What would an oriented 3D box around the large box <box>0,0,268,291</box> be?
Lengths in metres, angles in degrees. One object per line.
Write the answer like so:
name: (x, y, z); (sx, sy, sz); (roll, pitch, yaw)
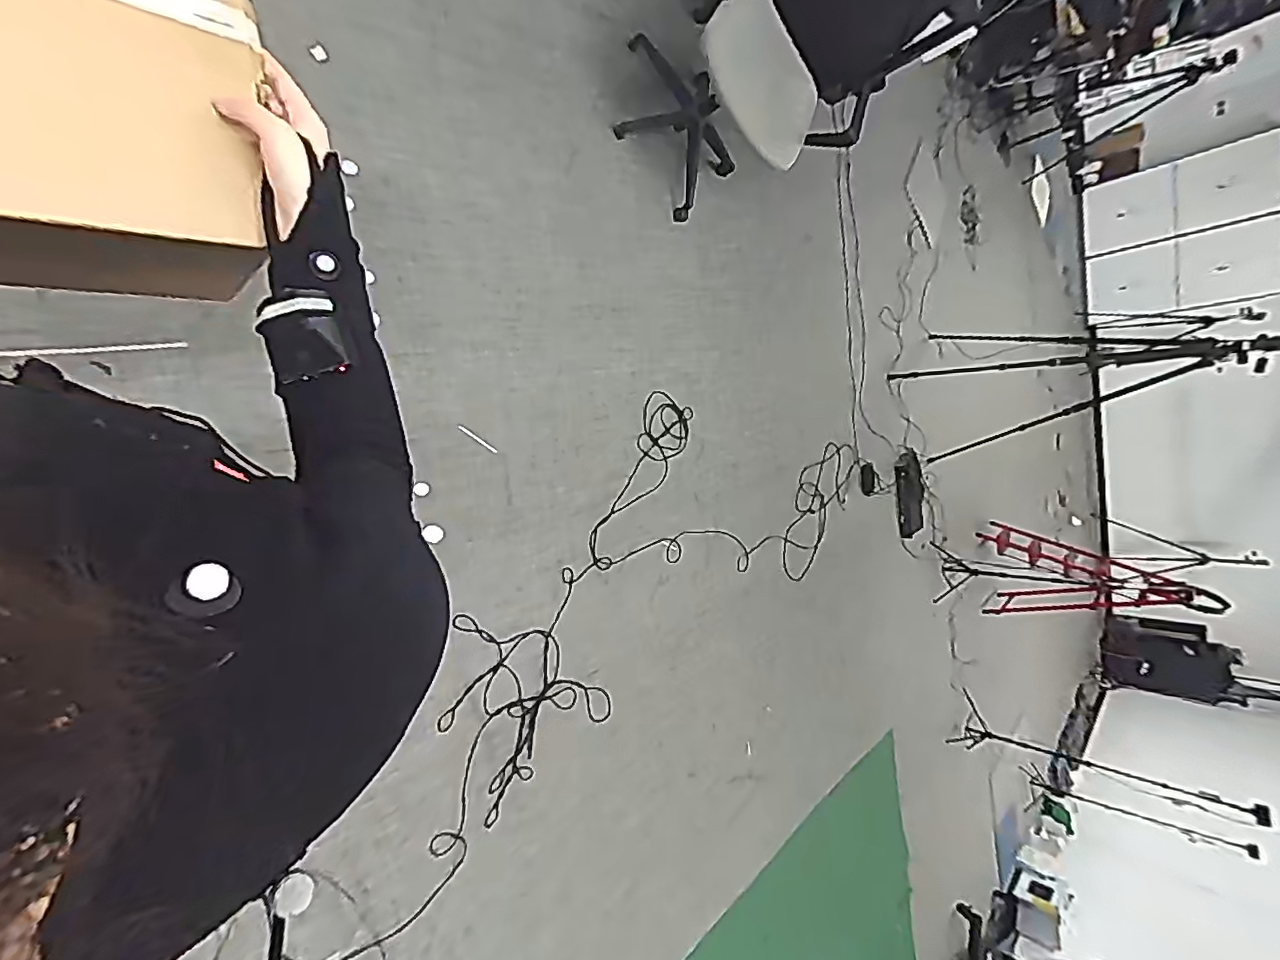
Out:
large box: (-0.559, -0.331, 0.405); (0.408, 0.320, 0.320); (-10, 103, -40)
